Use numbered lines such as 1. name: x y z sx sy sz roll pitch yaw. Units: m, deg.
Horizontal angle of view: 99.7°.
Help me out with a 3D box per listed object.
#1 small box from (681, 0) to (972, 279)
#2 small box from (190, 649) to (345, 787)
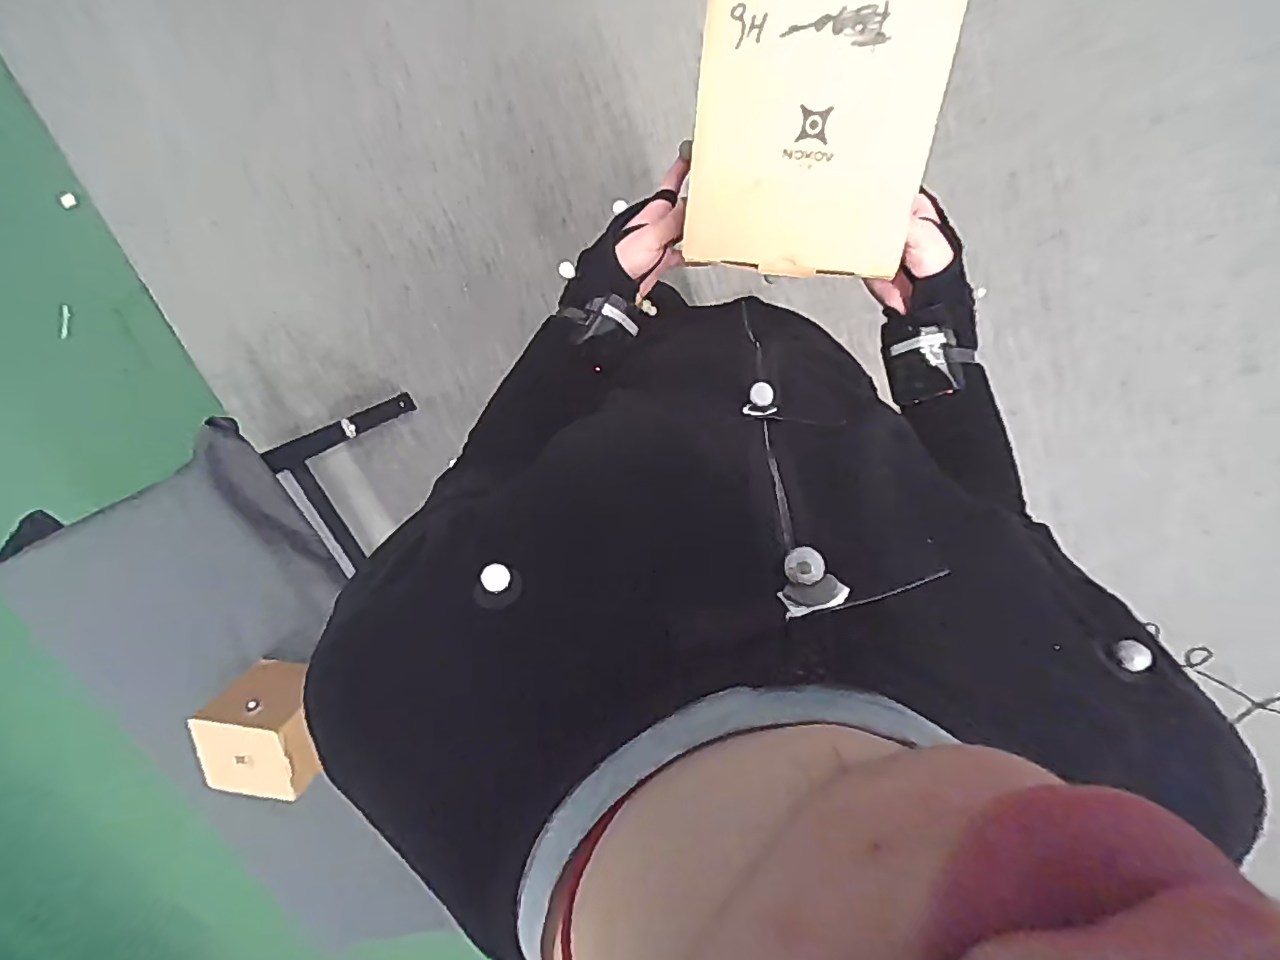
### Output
1. small box: 0.128 -0.276 0.449 0.168 0.176 0.179 6 117 2
2. small box: -0.696 0.449 1.039 0.179 0.176 0.168 6 111 7
